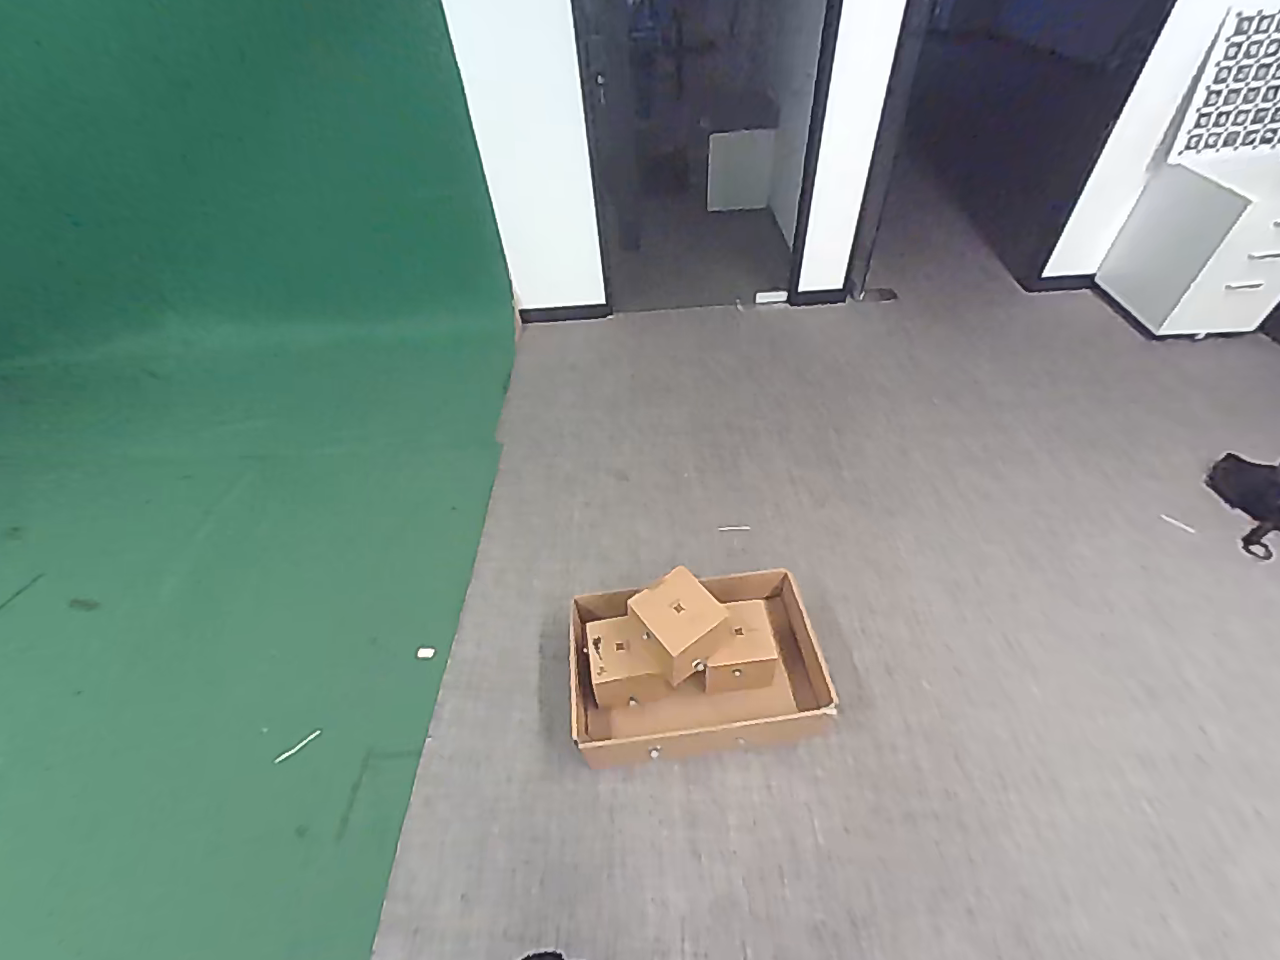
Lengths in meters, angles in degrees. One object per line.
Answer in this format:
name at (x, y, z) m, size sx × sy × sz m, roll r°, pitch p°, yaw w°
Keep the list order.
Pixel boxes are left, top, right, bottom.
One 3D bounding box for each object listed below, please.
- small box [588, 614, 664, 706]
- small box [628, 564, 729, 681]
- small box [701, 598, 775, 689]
small box at (-0.037, 0.466, 1.404) m, size 0.179 × 0.176 × 0.168 m, roll -8°, pitch 46°, yaw -5°
small box at (0.089, 0.342, 1.290) m, size 0.168 × 0.176 × 0.179 m, roll -31°, pitch 53°, yaw -22°
small box at (0.241, 0.431, 1.413) m, size 0.179 × 0.176 × 0.168 m, roll -7°, pitch 47°, yaw -1°
